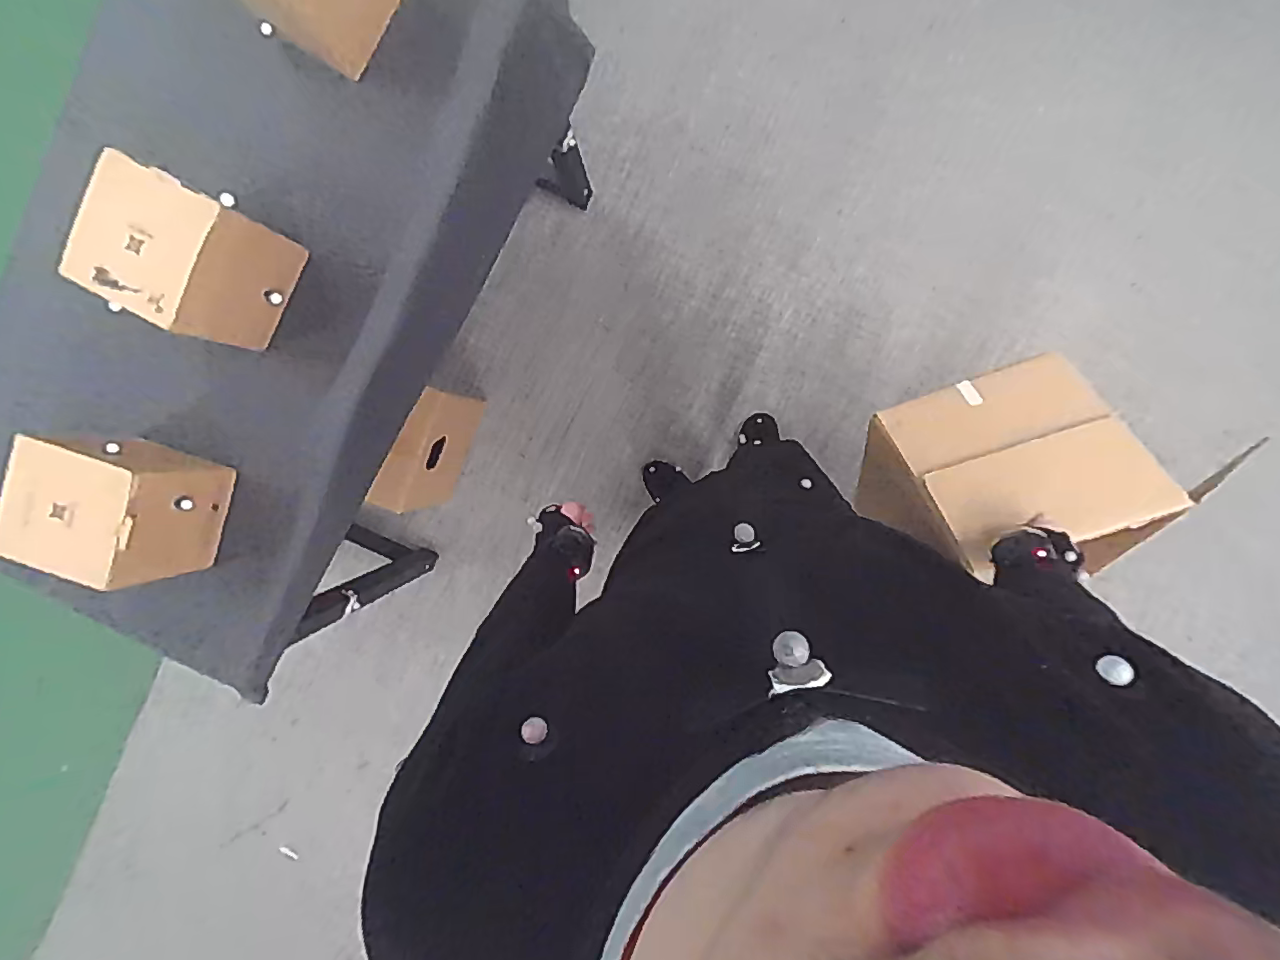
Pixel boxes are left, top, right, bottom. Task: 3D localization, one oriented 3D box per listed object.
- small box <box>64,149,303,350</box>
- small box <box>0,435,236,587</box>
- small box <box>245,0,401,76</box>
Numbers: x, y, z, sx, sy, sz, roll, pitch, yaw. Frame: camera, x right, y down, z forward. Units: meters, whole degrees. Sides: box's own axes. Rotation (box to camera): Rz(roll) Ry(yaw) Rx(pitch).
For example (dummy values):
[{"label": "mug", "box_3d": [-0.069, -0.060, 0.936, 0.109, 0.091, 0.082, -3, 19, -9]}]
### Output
[{"label": "small box", "box_3d": [-0.620, -0.308, 0.762, 0.168, 0.176, 0.179, 28, 94, 1]}, {"label": "small box", "box_3d": [-0.747, 0.038, 0.792, 0.179, 0.176, 0.168, 17, 93, 4]}, {"label": "small box", "box_3d": [-0.450, -0.703, 0.724, 0.168, 0.176, 0.179, 32, 94, 1]}]
